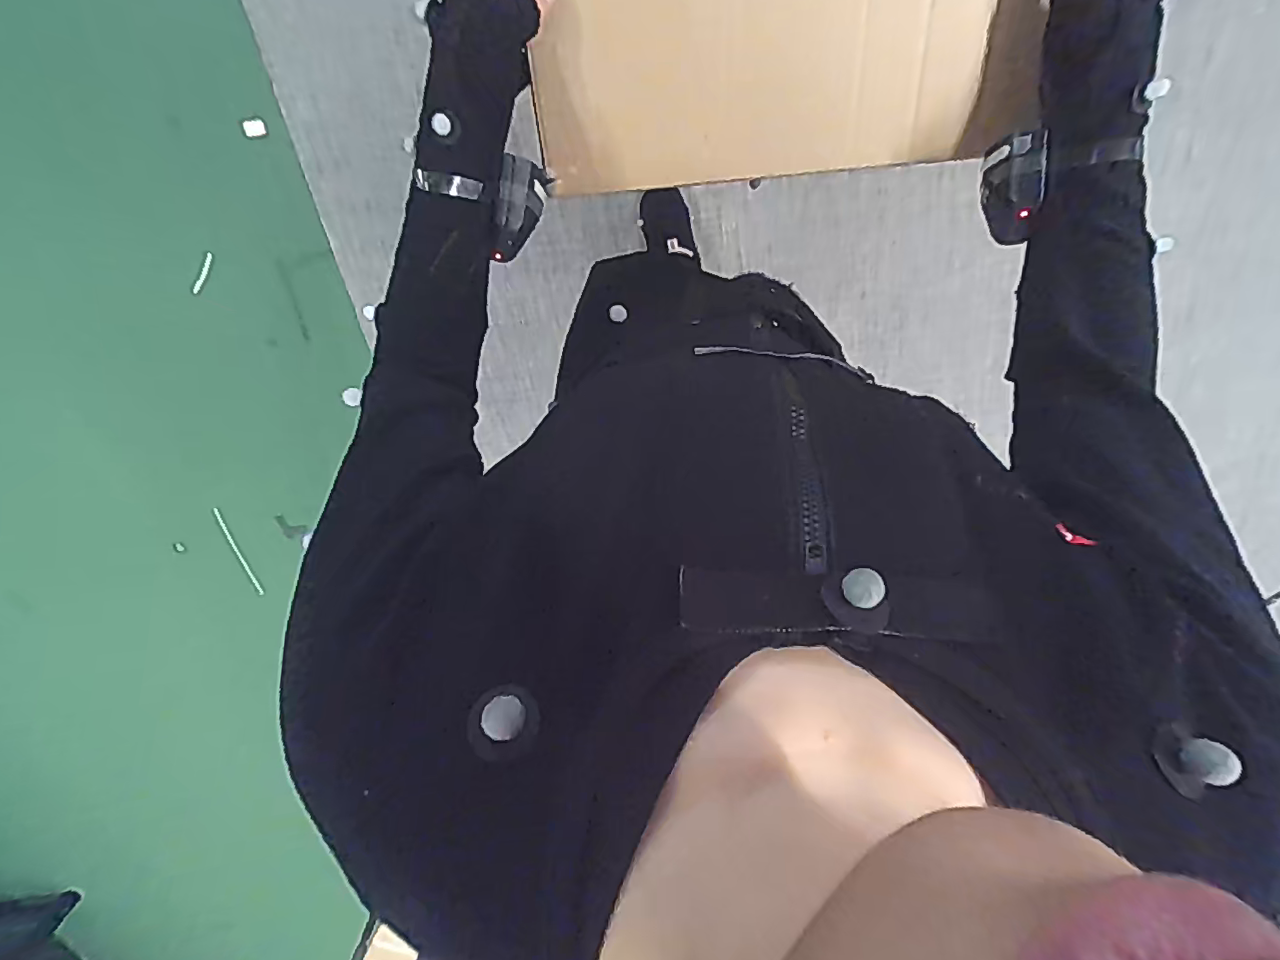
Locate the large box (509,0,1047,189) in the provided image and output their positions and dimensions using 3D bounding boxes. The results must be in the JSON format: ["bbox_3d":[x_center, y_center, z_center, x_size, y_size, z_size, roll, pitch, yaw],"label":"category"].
[{"bbox_3d":[0.103,-0.476,0.502,0.408,0.320,0.320,-3,121,5],"label":"large box"}]
